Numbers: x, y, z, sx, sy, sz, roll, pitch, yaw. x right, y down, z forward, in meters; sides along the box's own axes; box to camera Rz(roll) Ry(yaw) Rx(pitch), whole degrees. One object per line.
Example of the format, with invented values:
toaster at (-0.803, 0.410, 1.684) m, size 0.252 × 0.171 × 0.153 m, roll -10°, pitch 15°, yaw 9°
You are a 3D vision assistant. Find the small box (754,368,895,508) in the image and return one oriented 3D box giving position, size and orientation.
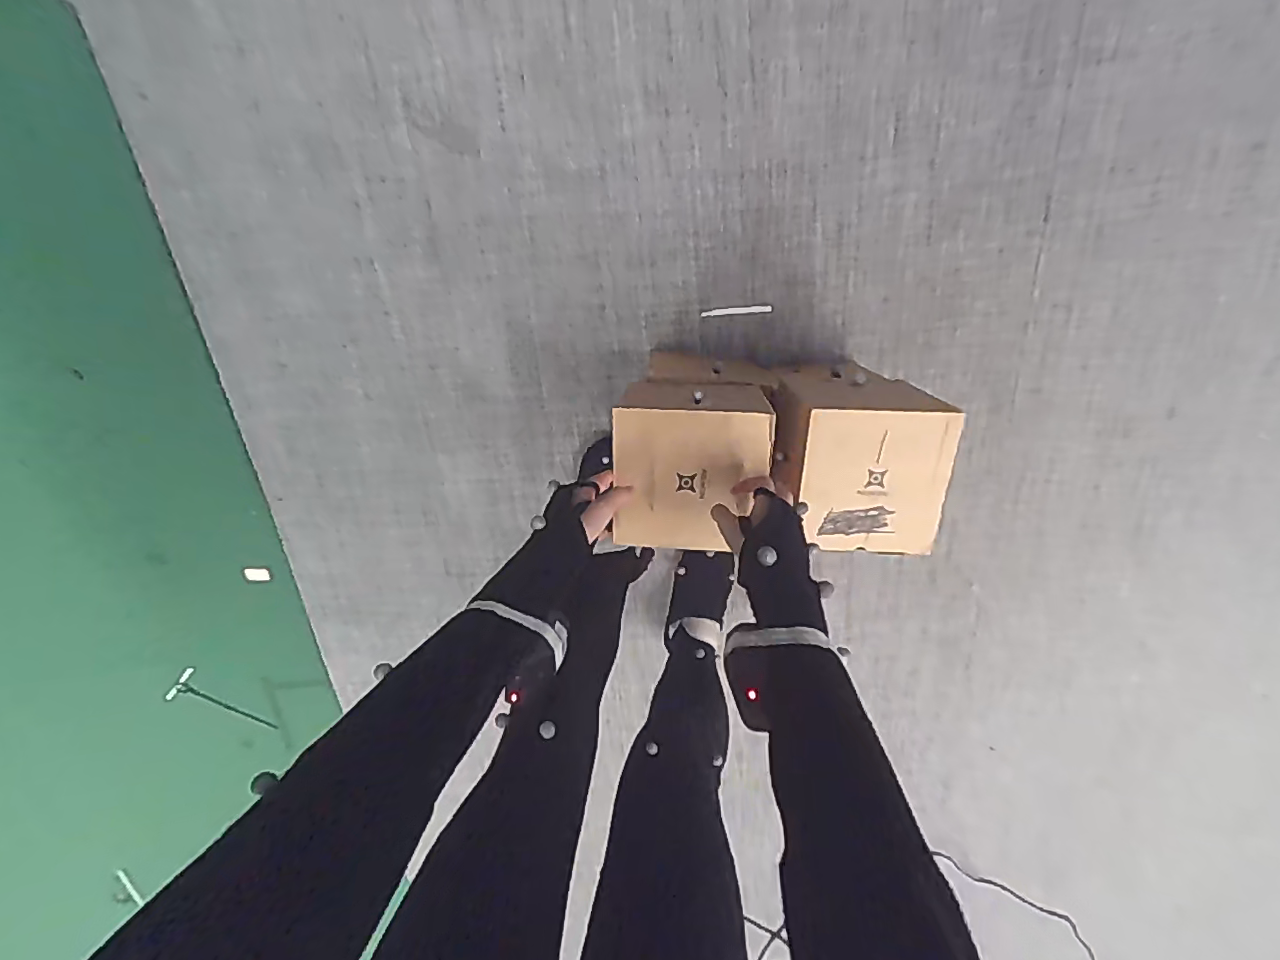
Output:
small box at (0.271, -0.074, 0.835) m, size 0.168 × 0.176 × 0.179 m, roll -4°, pitch 112°, yaw 4°
